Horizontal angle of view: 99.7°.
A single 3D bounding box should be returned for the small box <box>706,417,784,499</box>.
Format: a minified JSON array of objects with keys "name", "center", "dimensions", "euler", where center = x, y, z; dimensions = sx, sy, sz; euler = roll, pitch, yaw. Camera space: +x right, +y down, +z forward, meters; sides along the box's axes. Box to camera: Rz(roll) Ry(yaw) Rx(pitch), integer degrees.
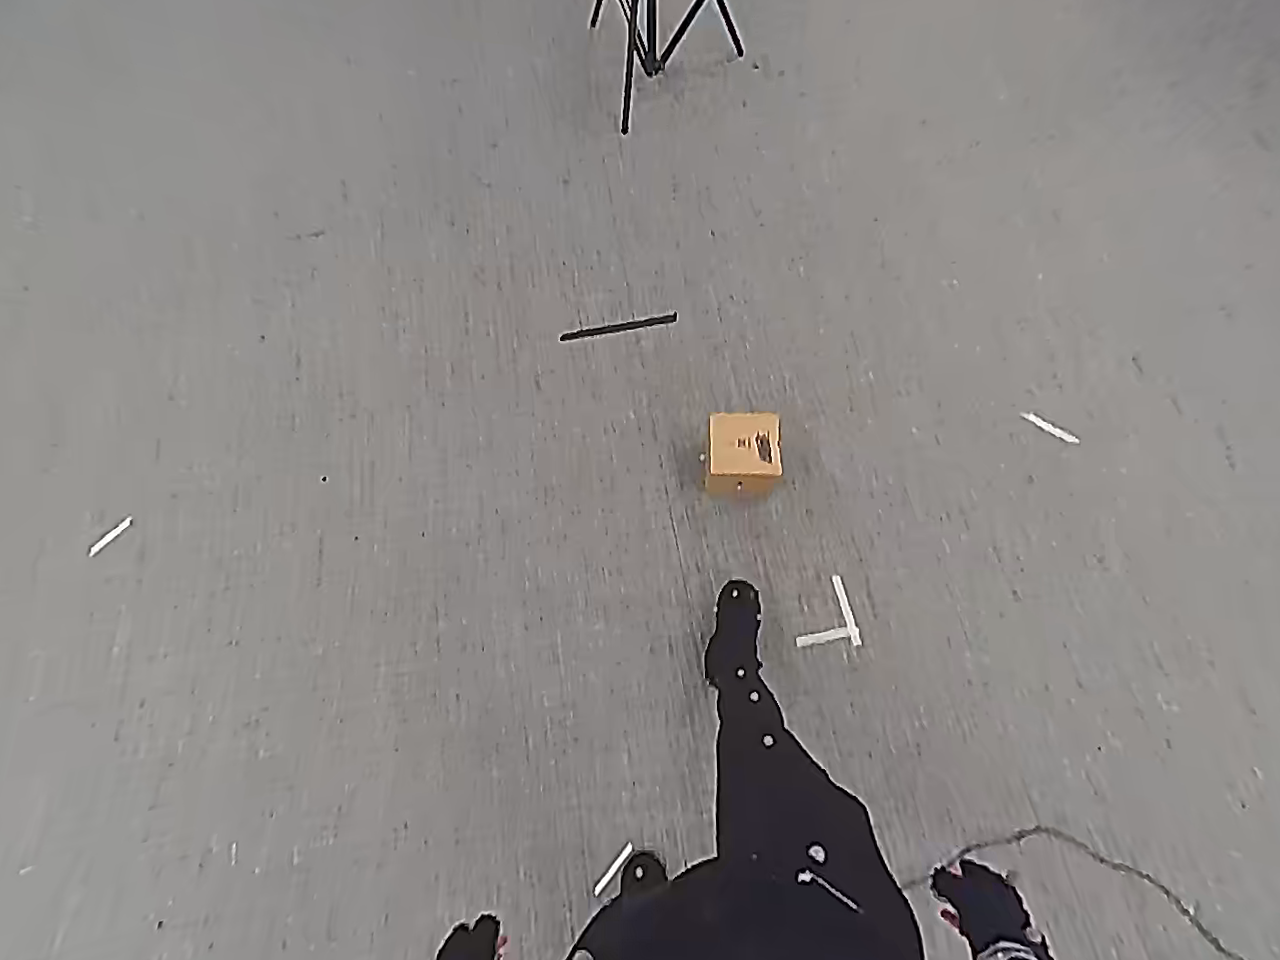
[{"name":"small box","center":[0.269,-0.052,1.412],"dimensions":[0.179,0.176,0.168],"euler":[2,70,3]}]
